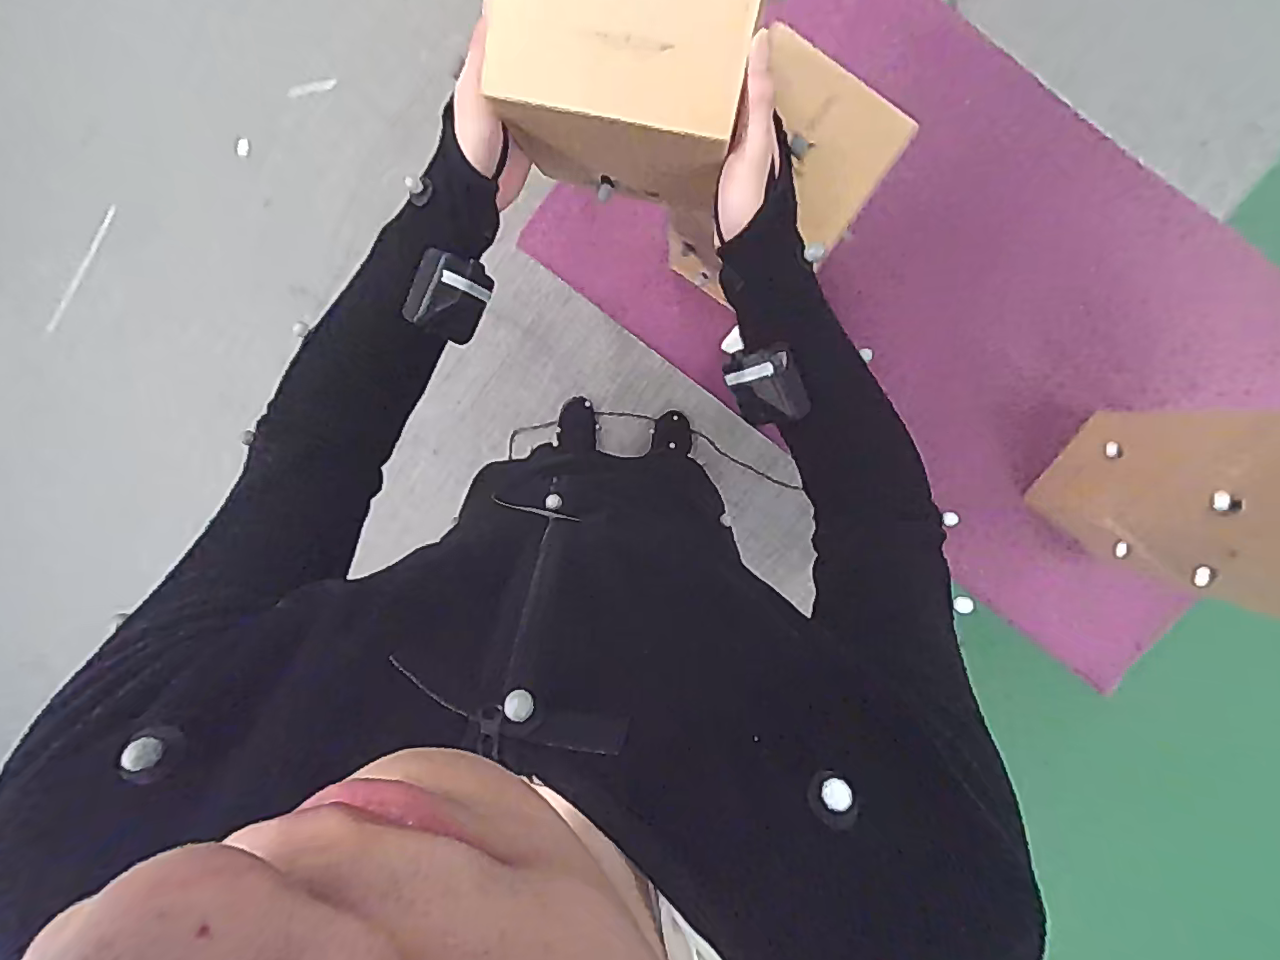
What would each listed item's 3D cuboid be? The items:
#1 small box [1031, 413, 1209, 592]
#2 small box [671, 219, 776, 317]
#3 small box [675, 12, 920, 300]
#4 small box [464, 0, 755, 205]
[{"bbox_3d":[0.718,0.020,0.768,0.168,0.176,0.179,37,98,-1],"label":"small box"},{"bbox_3d":[0.159,-0.348,0.746,0.168,0.176,0.179,35,99,-2],"label":"small box"},{"bbox_3d":[0.149,-0.321,0.584,0.168,0.176,0.179,36,98,-3],"label":"small box"},{"bbox_3d":[-0.007,-0.329,0.394,0.168,0.176,0.179,13,104,3],"label":"small box"}]
